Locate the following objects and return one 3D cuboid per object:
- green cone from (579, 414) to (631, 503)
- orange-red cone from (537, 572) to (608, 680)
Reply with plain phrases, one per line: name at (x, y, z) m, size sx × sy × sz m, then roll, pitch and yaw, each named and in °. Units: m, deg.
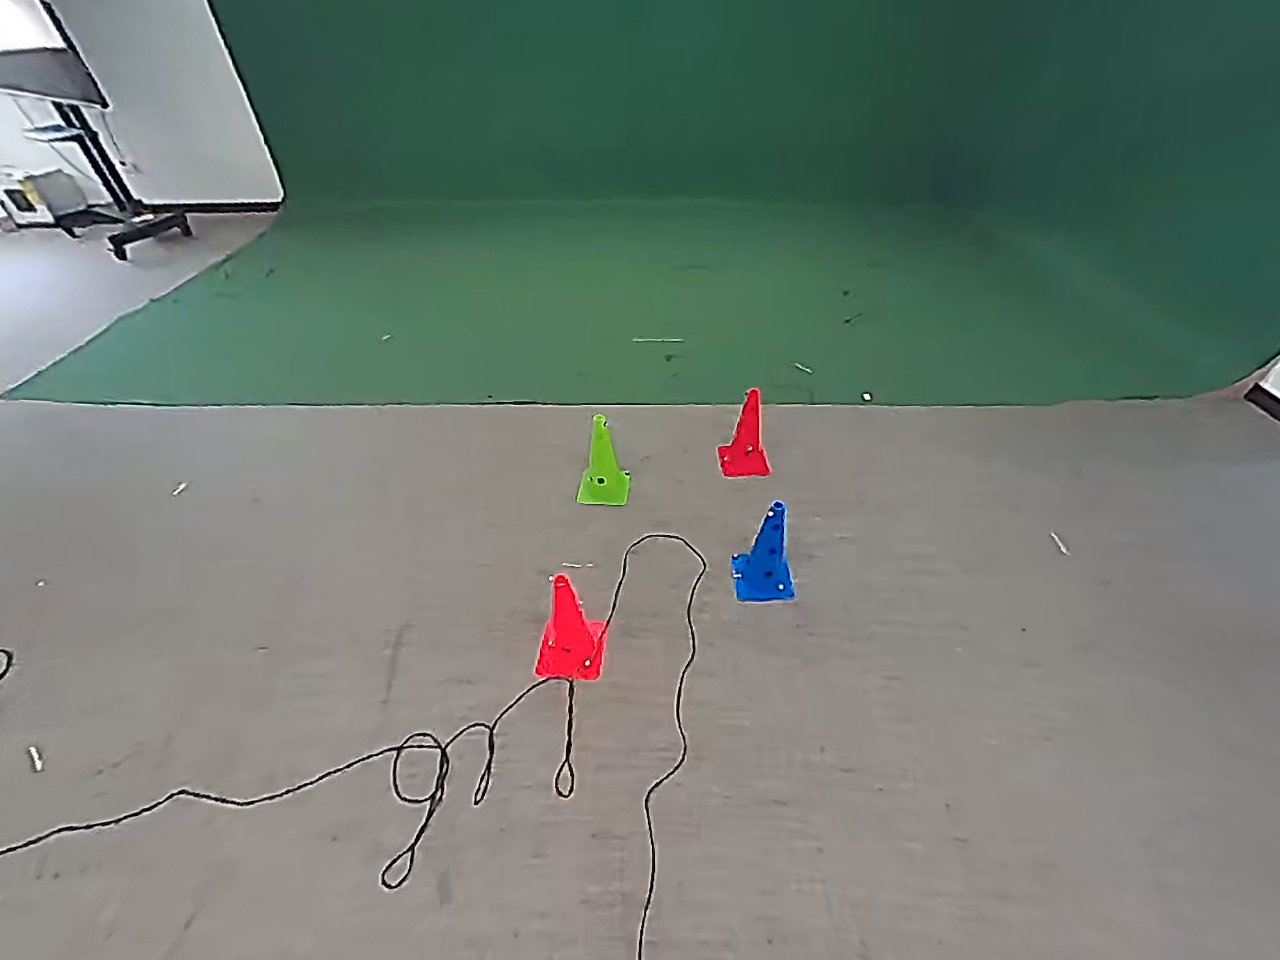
green cone at (-0.147, -0.104, 2.100) m, size 0.200 × 0.368 × 0.202 m, roll 2°, pitch 43°, yaw 3°
orange-red cone at (-0.205, 0.391, 1.565) m, size 0.198 × 0.360 × 0.199 m, roll 4°, pitch 41°, yaw 4°
